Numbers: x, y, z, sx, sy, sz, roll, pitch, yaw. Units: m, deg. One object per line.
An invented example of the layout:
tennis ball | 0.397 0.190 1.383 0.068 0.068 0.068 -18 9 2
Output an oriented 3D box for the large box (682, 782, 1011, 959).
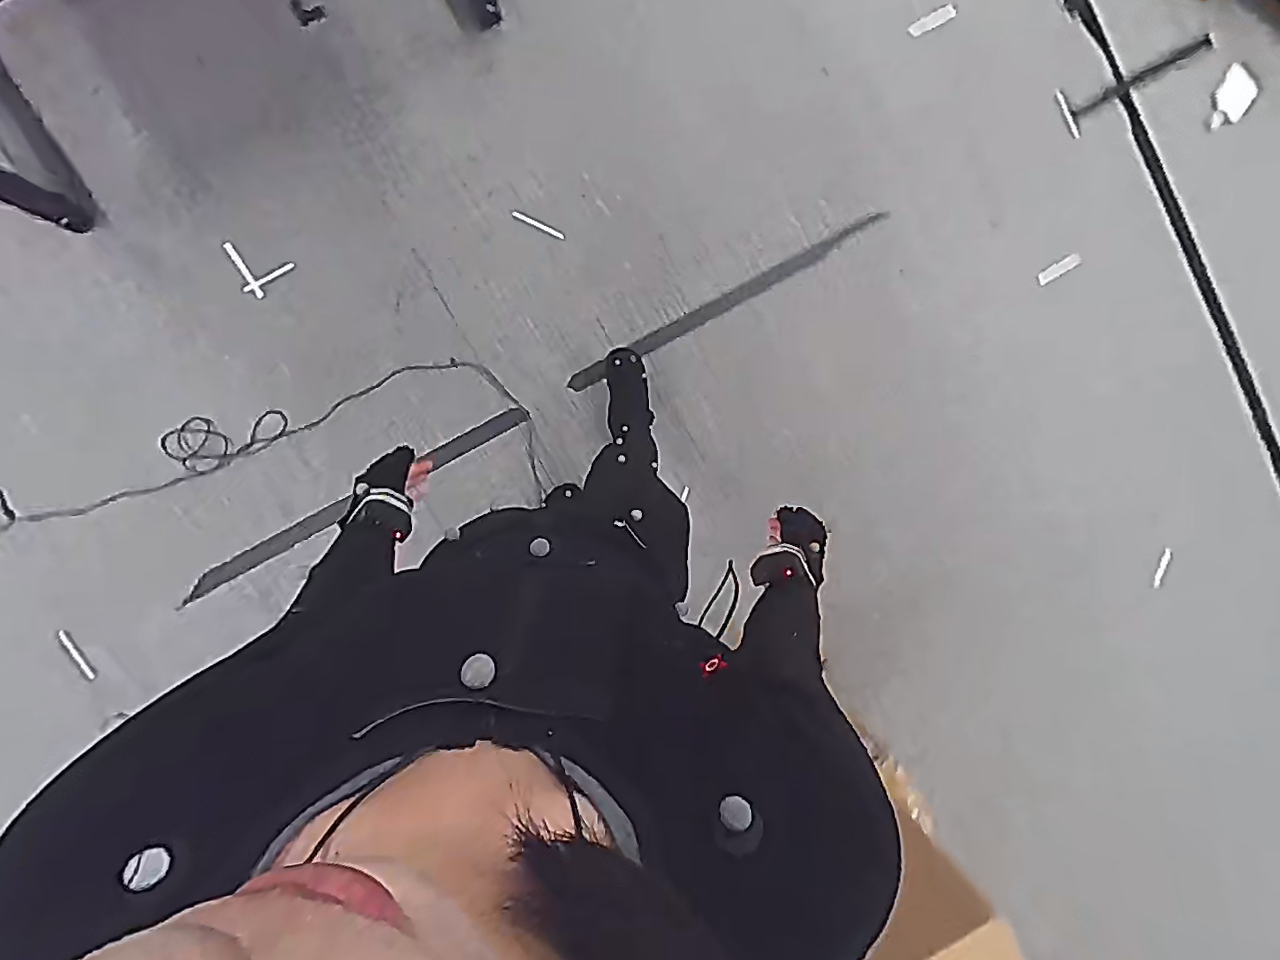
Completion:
large box | 0.328 0.770 0.828 0.408 0.320 0.320 -28 95 -3
